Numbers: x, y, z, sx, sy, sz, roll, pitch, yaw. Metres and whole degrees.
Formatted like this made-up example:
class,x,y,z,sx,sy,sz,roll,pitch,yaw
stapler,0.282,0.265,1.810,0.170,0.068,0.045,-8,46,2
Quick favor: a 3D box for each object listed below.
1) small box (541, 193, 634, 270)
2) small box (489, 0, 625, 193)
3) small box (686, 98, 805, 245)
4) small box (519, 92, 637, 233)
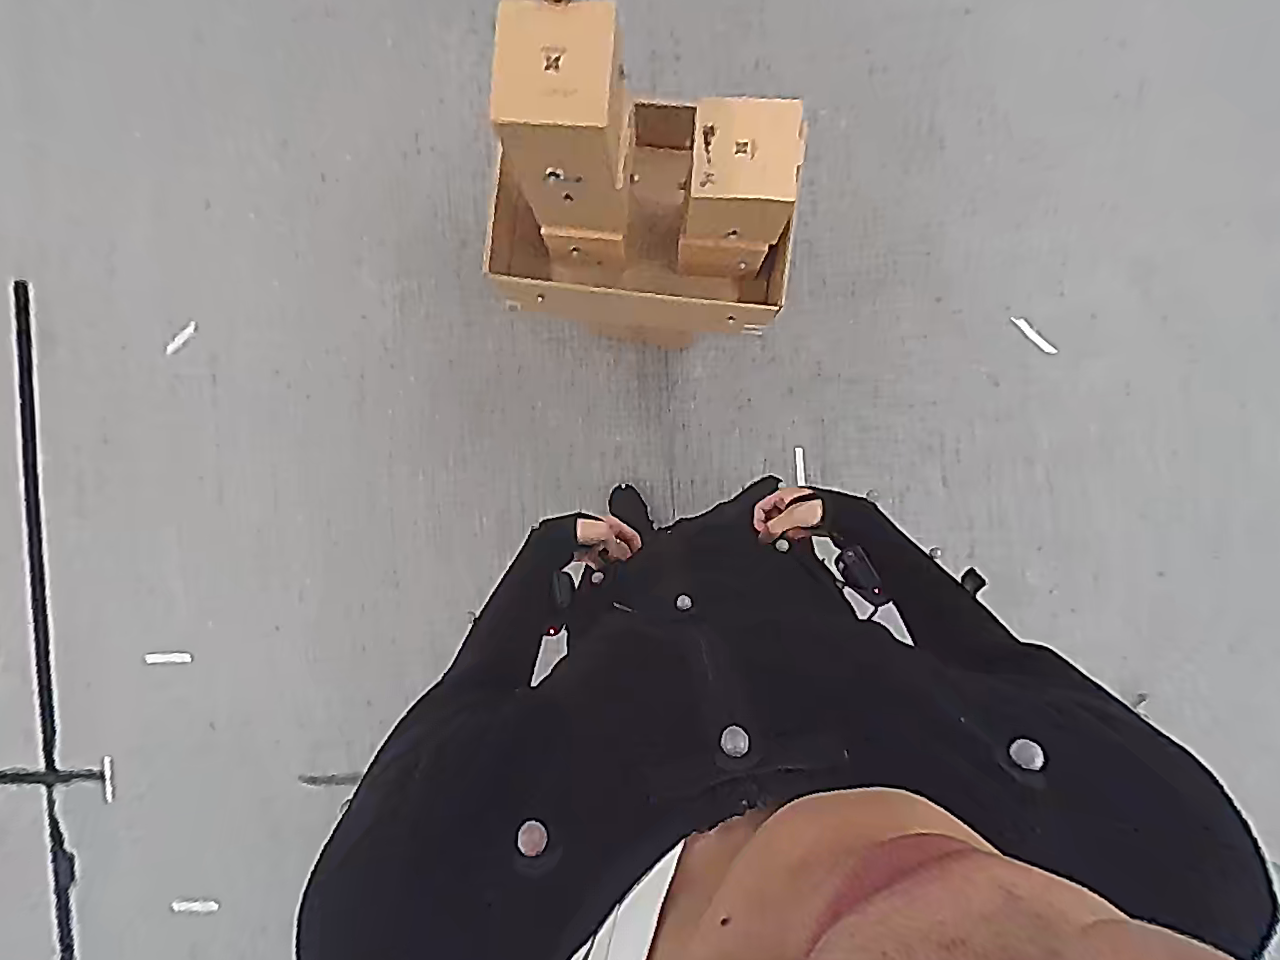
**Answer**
class,x,y,z,sx,sy,sz,roll,pitch,yaw
small box,-0.104,-0.561,1.138,0.168,0.176,0.179,5,90,1
small box,-0.114,-0.566,0.809,0.168,0.176,0.179,5,90,2
small box,0.178,-0.535,0.960,0.179,0.176,0.168,5,91,3
small box,-0.104,-0.567,0.973,0.179,0.176,0.168,7,90,1
